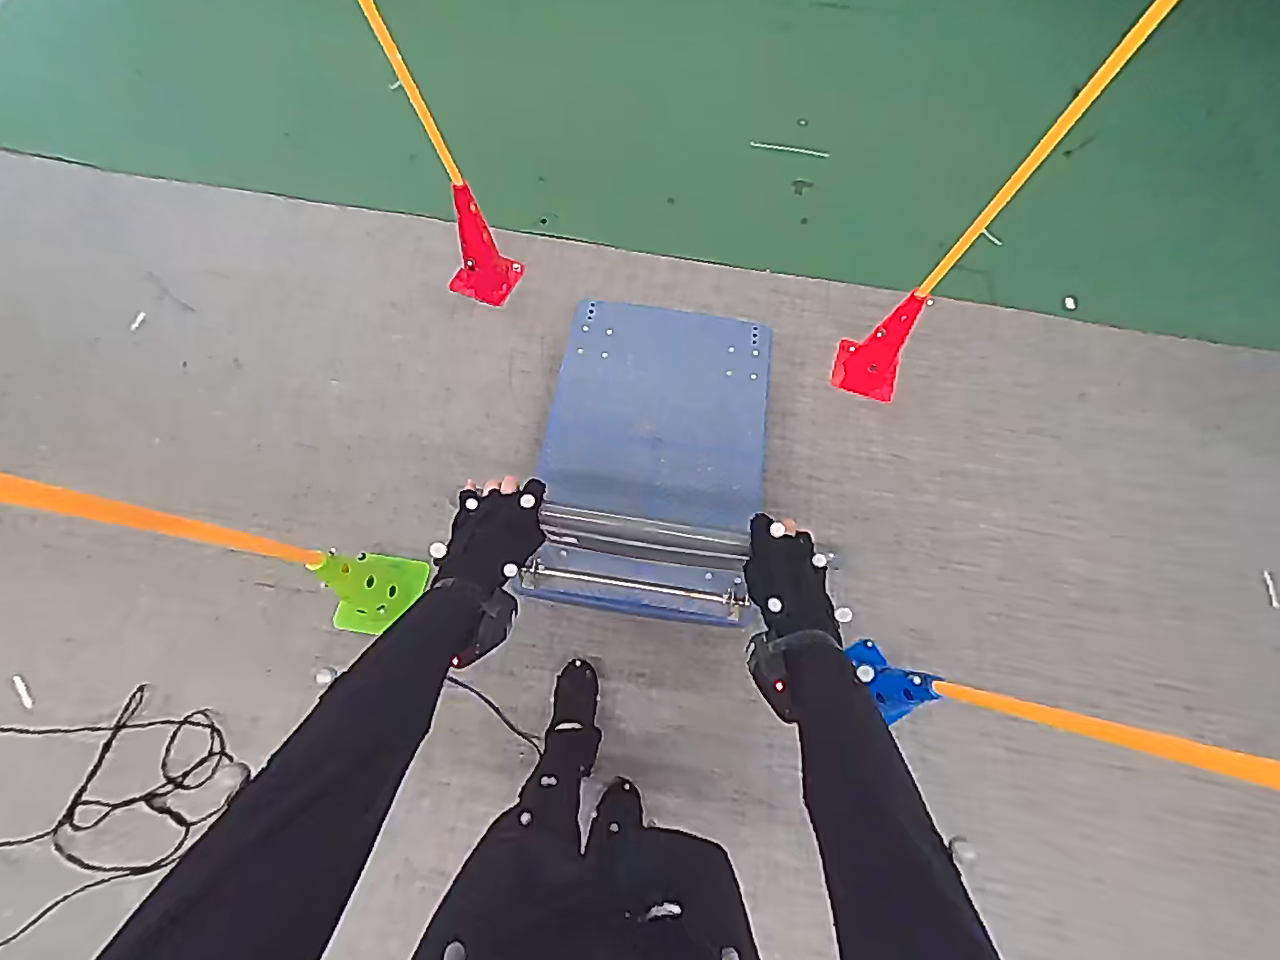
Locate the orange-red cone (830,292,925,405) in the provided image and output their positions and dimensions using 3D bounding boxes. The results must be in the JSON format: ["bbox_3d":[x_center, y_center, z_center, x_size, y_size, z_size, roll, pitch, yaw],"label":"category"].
[{"bbox_3d":[0.729,-0.411,1.583,0.198,0.360,0.199,20,68,7],"label":"orange-red cone"}]
